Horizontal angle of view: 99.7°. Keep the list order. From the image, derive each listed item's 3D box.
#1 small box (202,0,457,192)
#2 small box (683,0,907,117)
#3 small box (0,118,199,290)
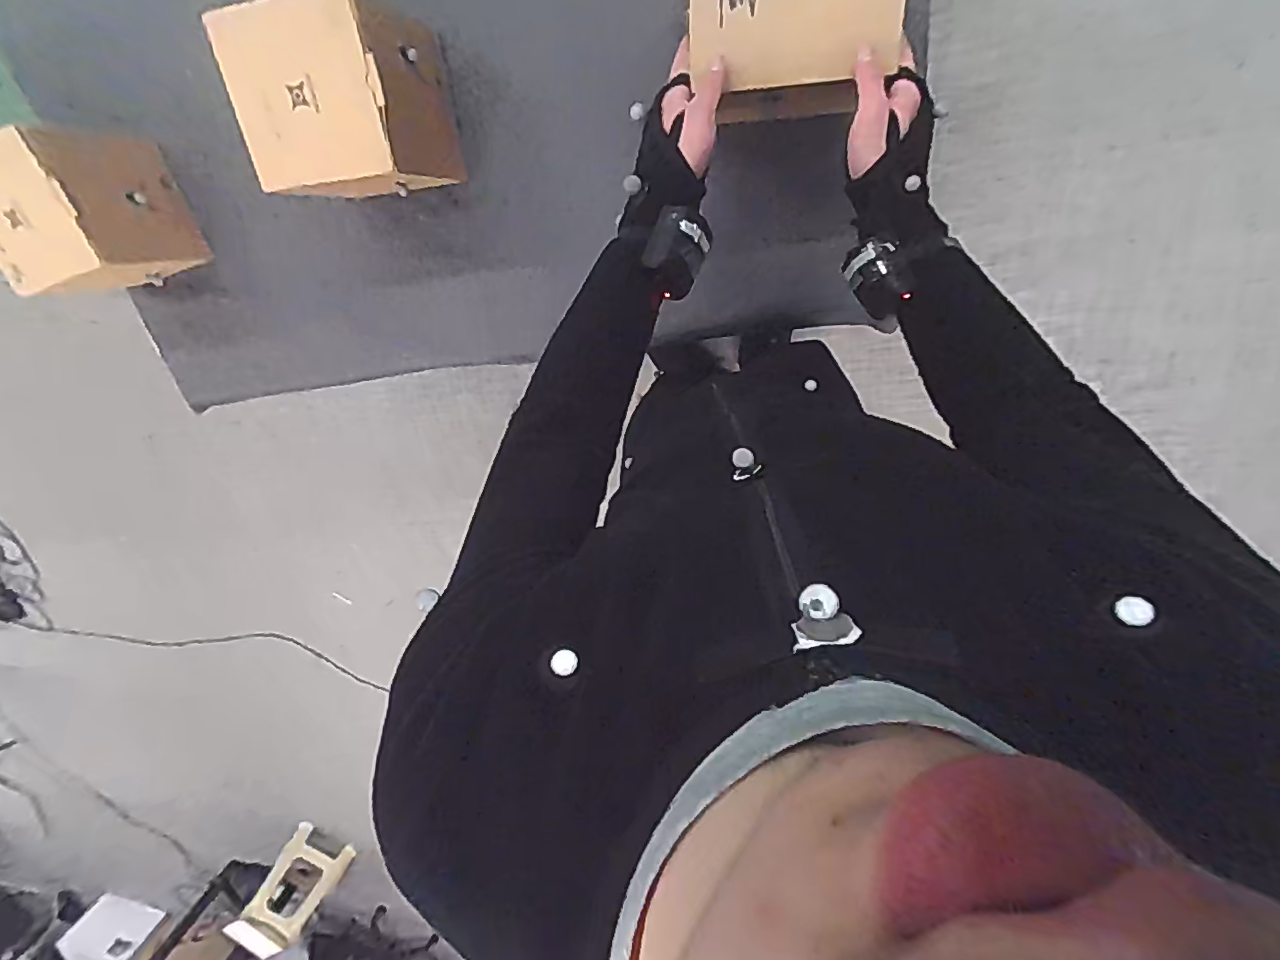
[{"bbox_3d":[-0.335,-0.440,0.628,0.179,0.176,0.168,0,114,14],"label":"small box"},{"bbox_3d":[0.132,-0.442,0.489,0.179,0.176,0.168,1,116,8],"label":"small box"},{"bbox_3d":[-0.774,-0.378,0.757,0.179,0.176,0.168,-9,113,15],"label":"small box"}]
